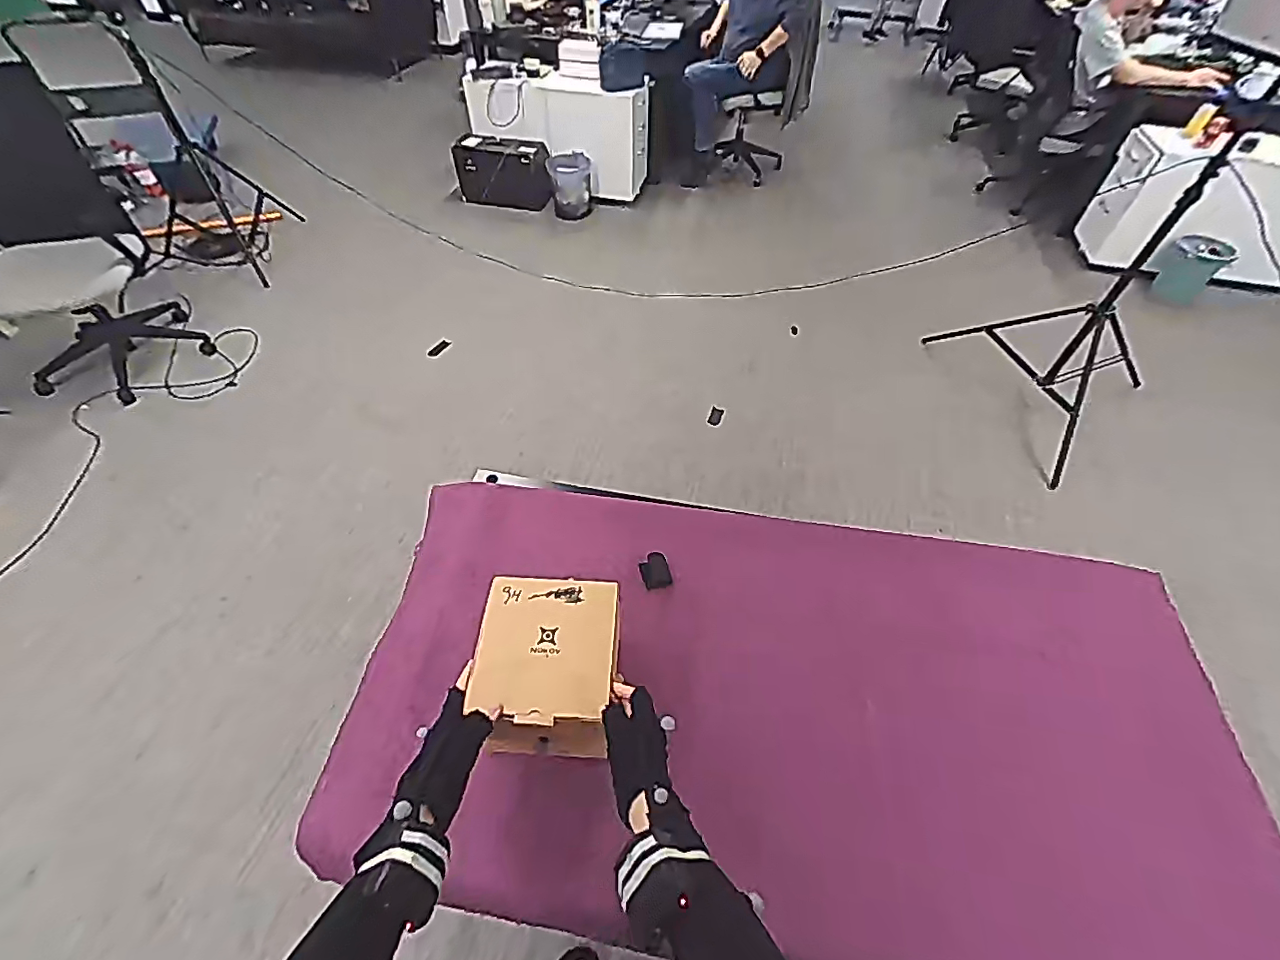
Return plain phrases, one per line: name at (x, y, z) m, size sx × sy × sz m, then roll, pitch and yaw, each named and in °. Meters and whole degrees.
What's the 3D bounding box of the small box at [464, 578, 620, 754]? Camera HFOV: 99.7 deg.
small box at (-0.114, 0.249, 0.715) m, size 0.168 × 0.176 × 0.179 m, roll 3°, pitch 50°, yaw 0°
